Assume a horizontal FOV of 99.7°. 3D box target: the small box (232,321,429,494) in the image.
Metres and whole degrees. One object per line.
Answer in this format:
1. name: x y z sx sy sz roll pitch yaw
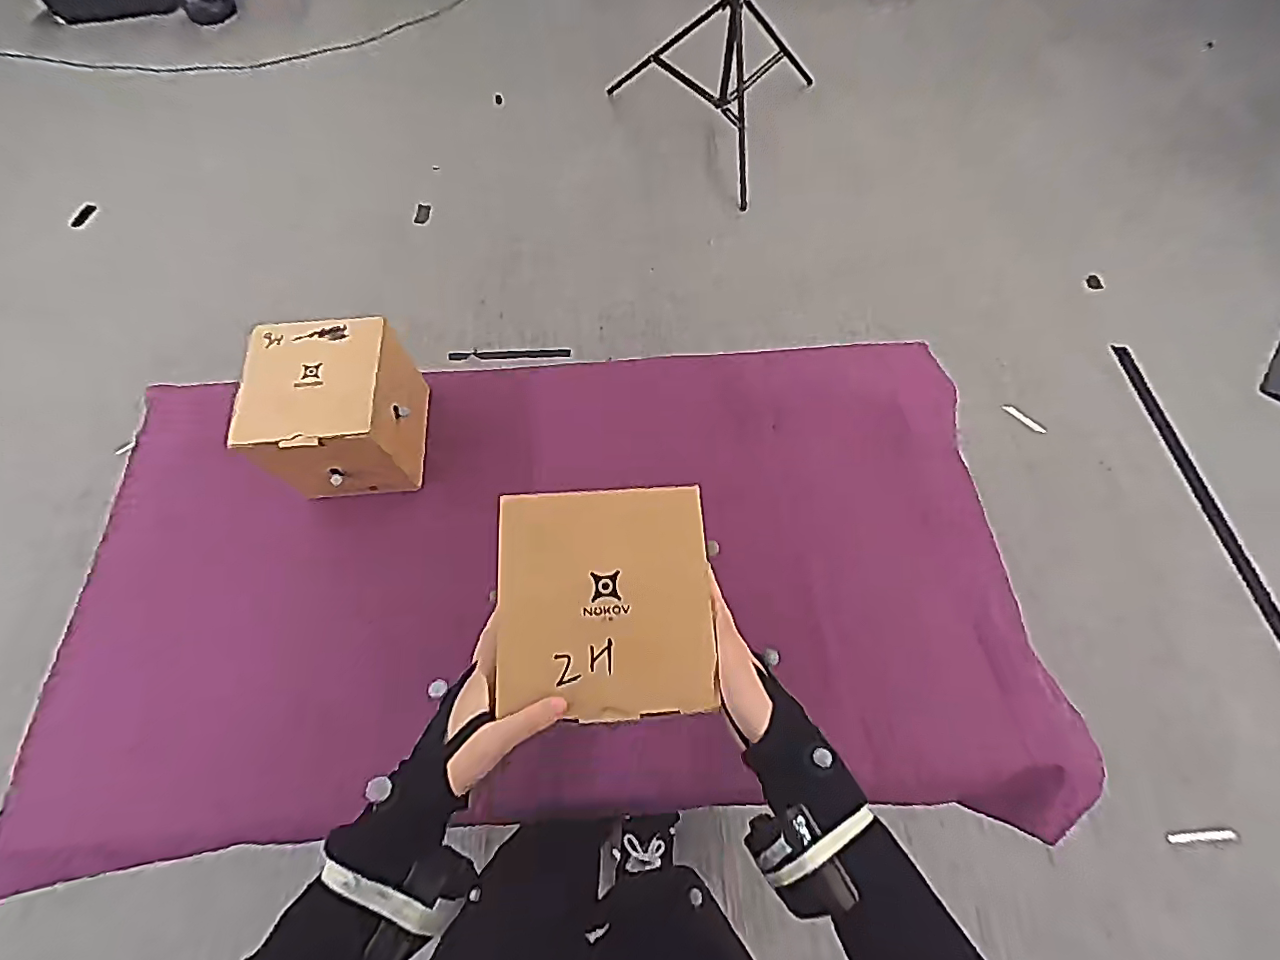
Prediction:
1. small box: -0.399 -0.088 0.732 0.168 0.176 0.179 -5 67 -3

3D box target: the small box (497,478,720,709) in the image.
1. small box: -0.028 0.110 0.495 0.168 0.176 0.179 -3 70 -2
